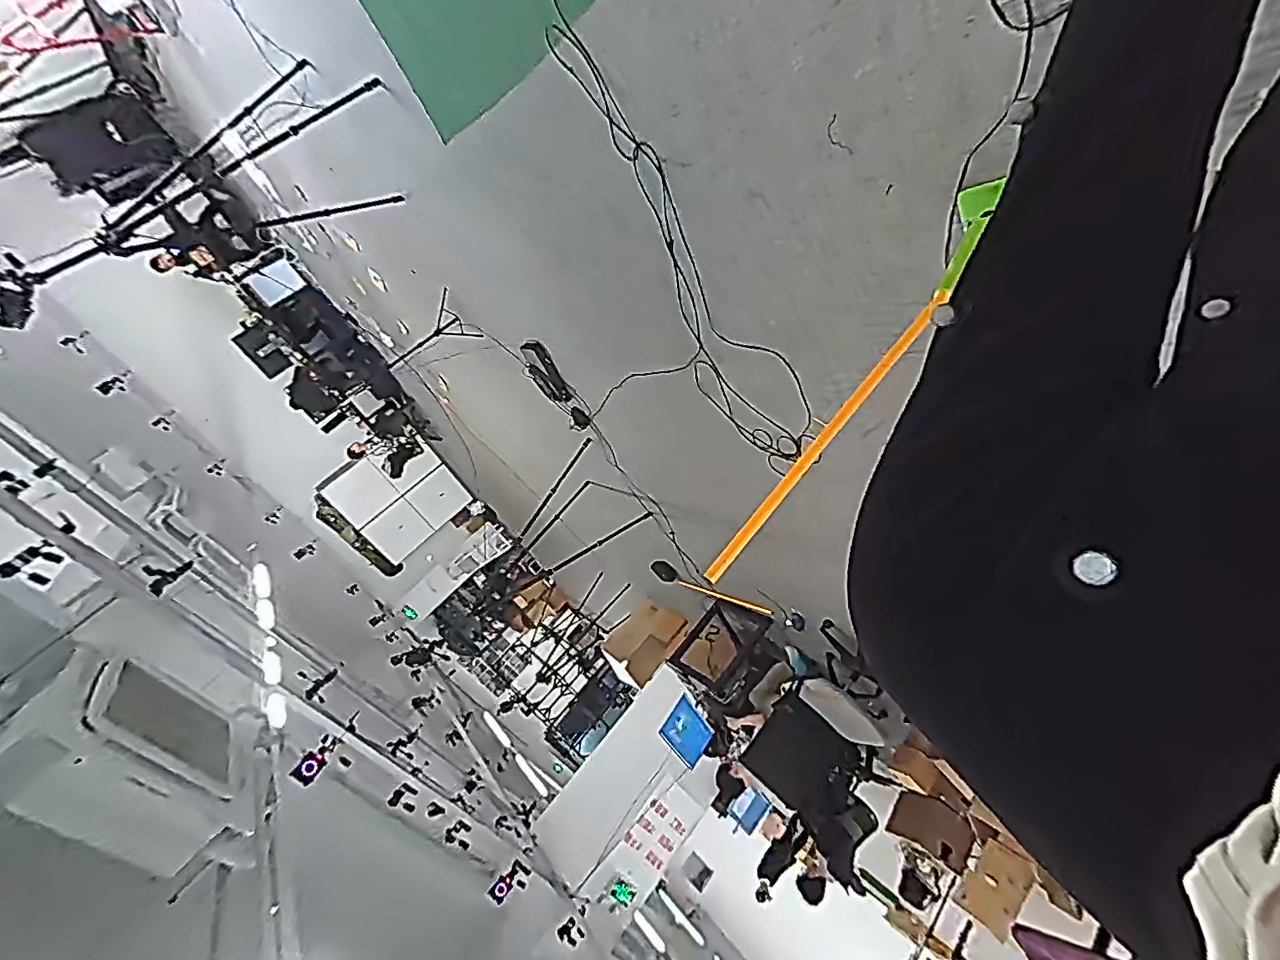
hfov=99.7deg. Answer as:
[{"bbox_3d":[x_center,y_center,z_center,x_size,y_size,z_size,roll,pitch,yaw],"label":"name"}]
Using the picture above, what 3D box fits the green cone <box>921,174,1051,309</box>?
[{"bbox_3d":[0.777,-0.525,1.281,0.202,0.368,0.200,12,142,56],"label":"green cone"}]
